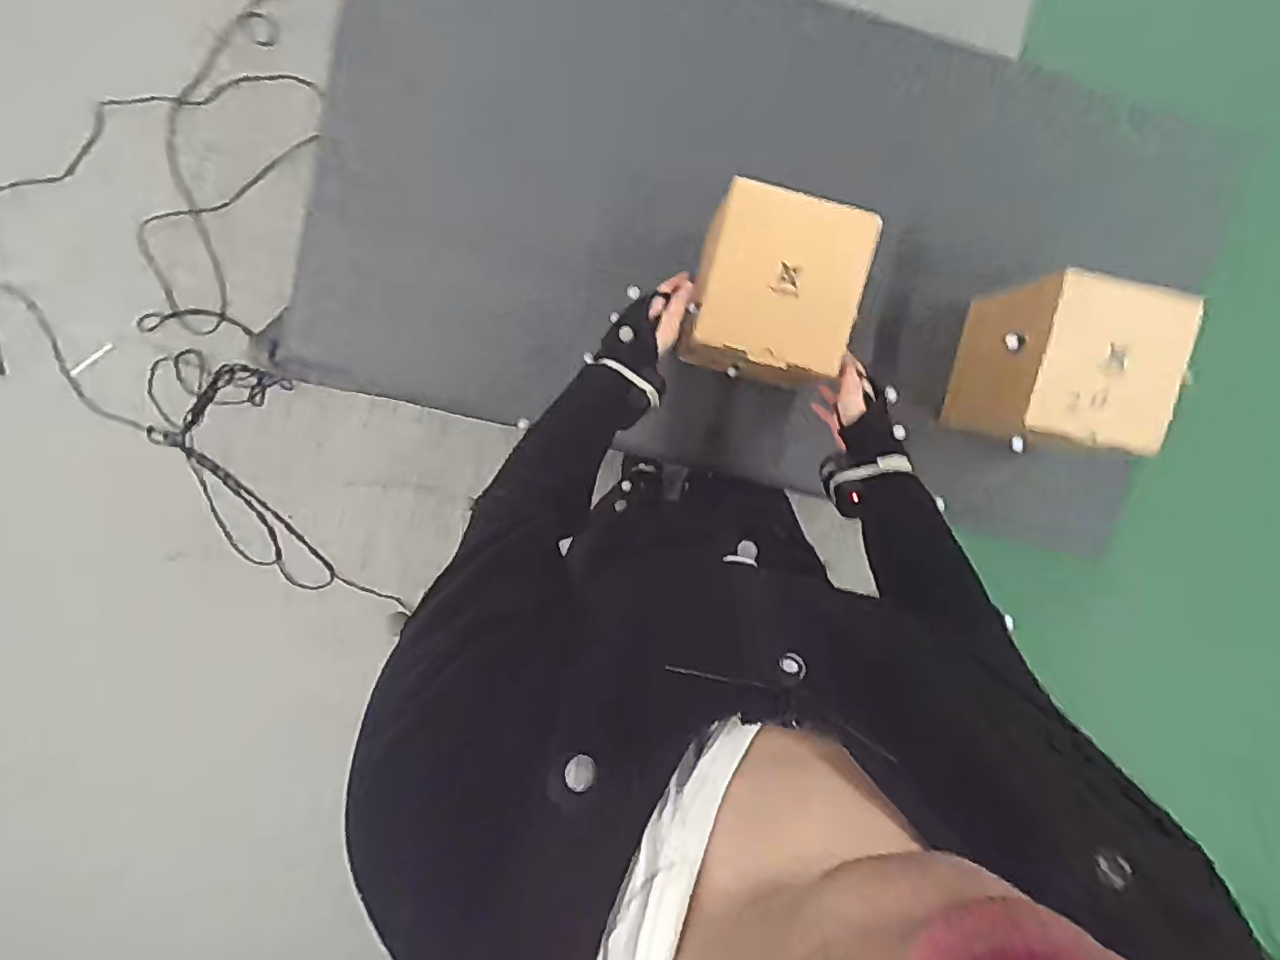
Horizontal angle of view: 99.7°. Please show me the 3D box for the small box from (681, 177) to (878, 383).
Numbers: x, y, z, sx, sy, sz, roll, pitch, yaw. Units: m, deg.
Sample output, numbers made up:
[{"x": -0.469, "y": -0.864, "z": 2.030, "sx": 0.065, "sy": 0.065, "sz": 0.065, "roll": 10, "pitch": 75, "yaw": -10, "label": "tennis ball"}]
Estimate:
[{"x": 0.155, "y": -0.226, "z": 0.662, "sx": 0.168, "sy": 0.176, "sz": 0.179, "roll": 13, "pitch": 96, "yaw": -5, "label": "small box"}]

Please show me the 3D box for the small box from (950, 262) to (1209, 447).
[{"x": 0.526, "y": -0.146, "z": 0.677, "sx": 0.168, "sy": 0.176, "sz": 0.179, "roll": 11, "pitch": 97, "yaw": -1, "label": "small box"}]
